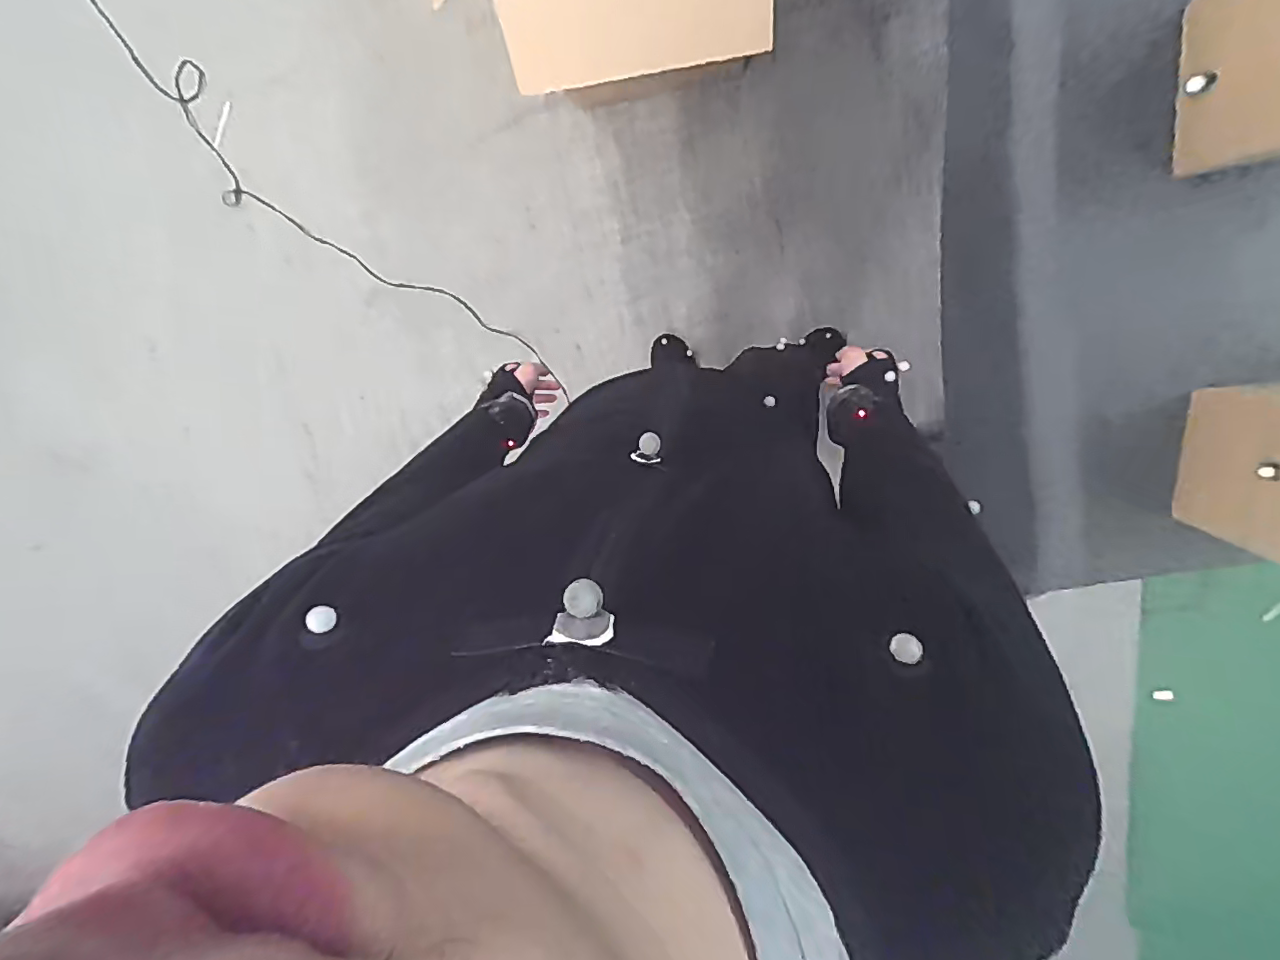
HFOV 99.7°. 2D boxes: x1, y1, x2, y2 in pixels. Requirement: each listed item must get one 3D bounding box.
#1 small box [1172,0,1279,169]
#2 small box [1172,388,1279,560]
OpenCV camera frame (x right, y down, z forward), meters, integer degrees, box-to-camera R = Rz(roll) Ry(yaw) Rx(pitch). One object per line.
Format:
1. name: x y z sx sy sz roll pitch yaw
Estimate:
1. small box: 0.669 -0.418 0.516 0.168 0.176 0.179 -8 106 9
2. small box: 0.776 -0.014 0.623 0.168 0.176 0.179 -4 107 9
